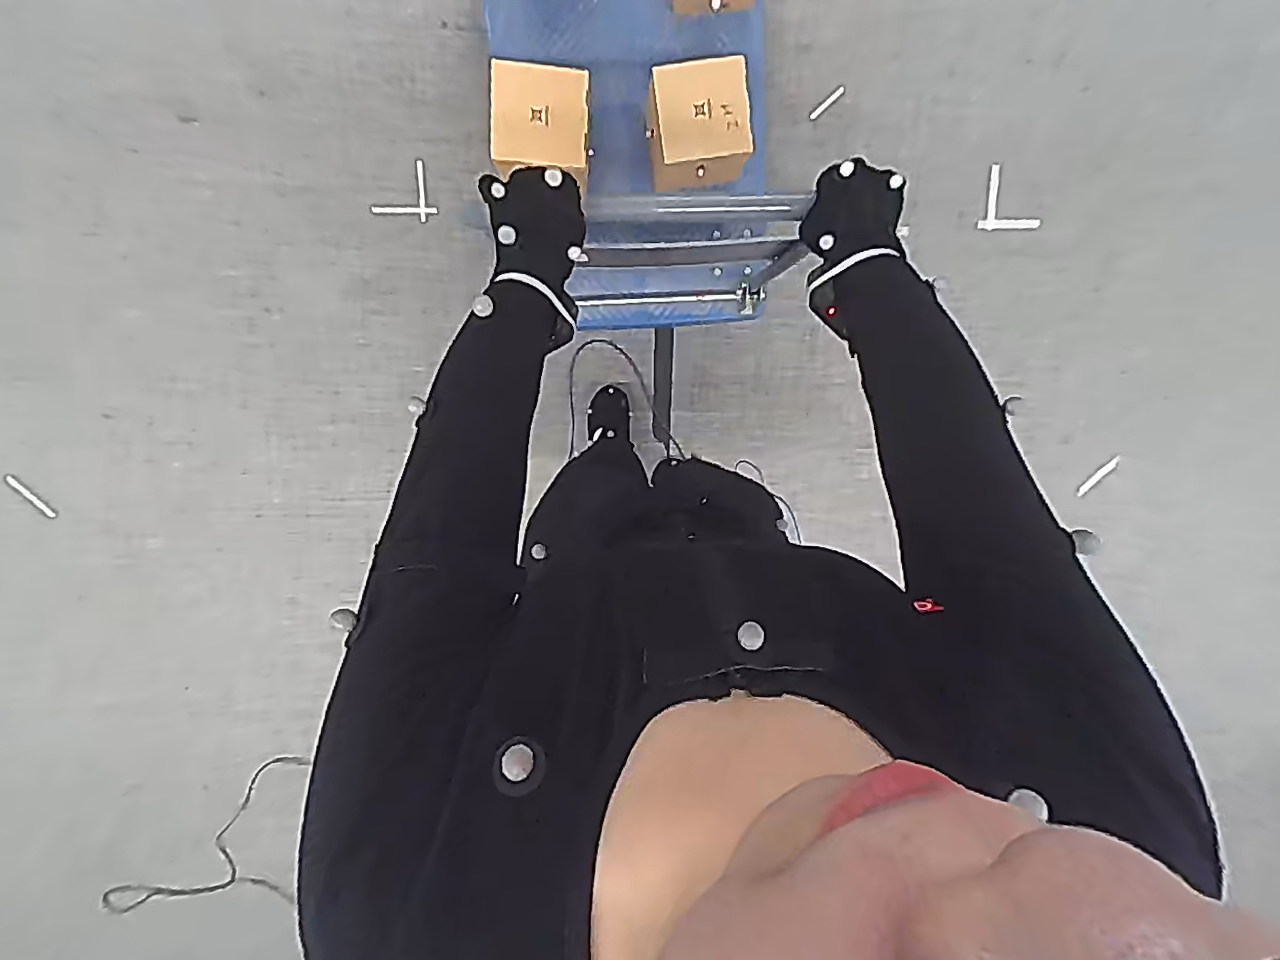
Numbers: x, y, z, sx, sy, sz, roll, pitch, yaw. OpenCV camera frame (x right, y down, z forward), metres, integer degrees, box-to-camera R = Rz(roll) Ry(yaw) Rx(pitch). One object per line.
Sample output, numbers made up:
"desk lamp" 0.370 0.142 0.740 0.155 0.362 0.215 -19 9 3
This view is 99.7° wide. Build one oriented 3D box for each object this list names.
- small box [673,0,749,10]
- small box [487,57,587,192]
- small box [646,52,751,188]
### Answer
"small box" 0.144 -1.035 1.012 0.168 0.176 0.179 -7 103 -3
"small box" -0.196 -0.681 1.058 0.179 0.176 0.168 2 101 -7
"small box" 0.108 -0.704 1.077 0.179 0.176 0.168 -10 102 -3
